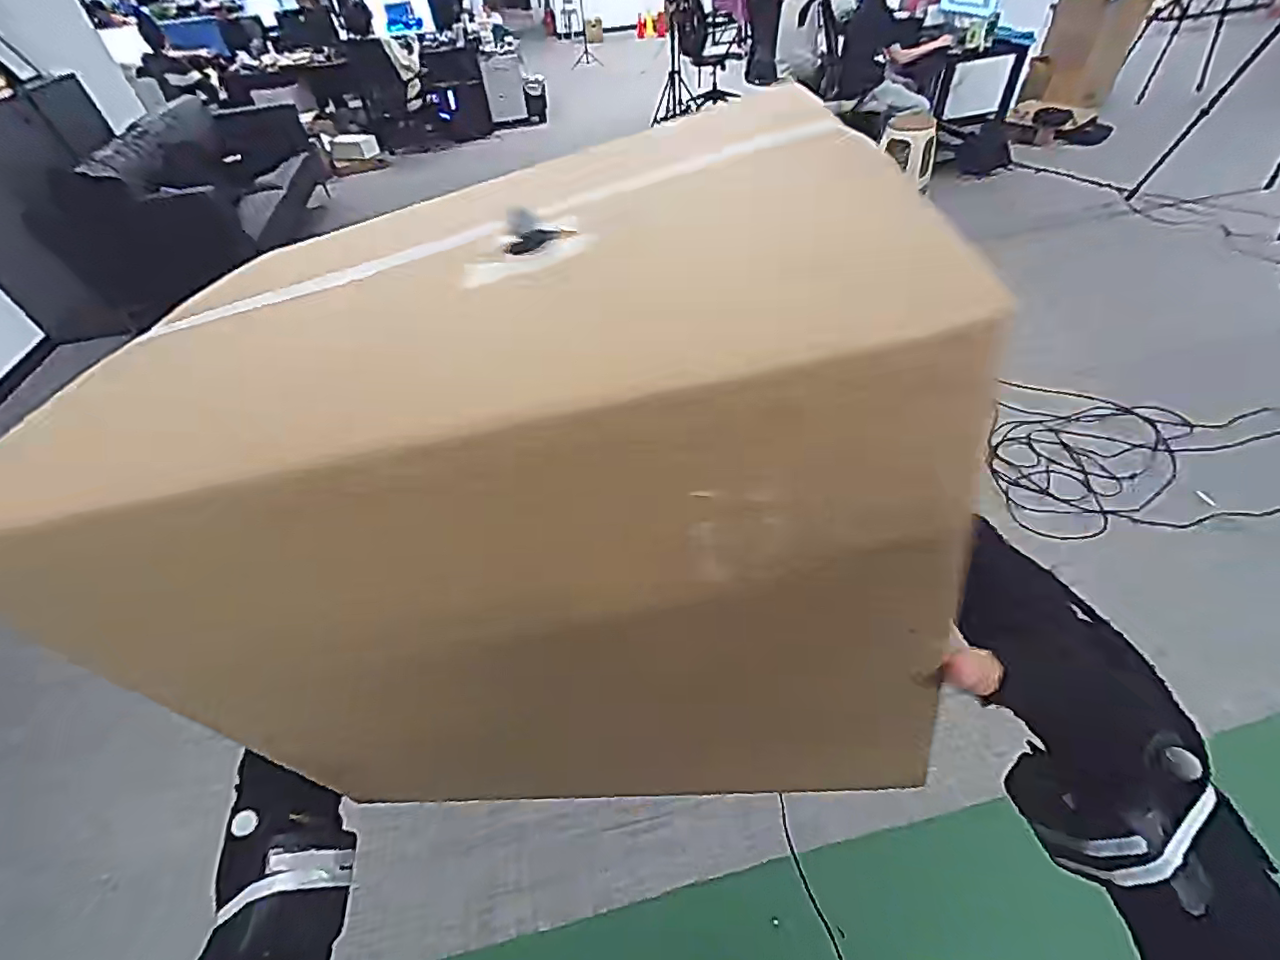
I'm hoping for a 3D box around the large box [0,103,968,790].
[{"bbox_3d":[-0.056,-0.002,0.385,0.408,0.320,0.320,-10,43,14],"label":"large box"}]
